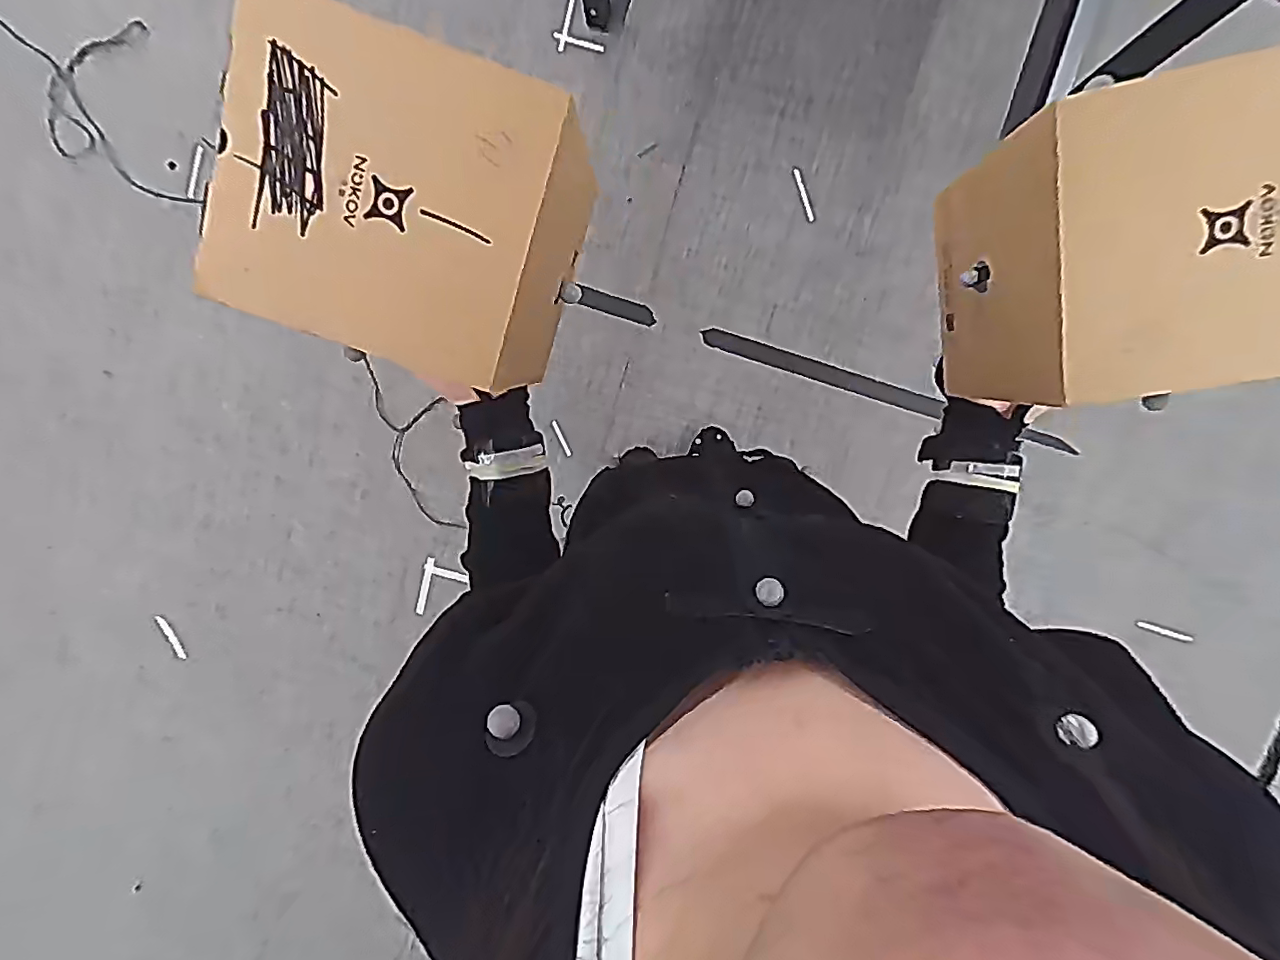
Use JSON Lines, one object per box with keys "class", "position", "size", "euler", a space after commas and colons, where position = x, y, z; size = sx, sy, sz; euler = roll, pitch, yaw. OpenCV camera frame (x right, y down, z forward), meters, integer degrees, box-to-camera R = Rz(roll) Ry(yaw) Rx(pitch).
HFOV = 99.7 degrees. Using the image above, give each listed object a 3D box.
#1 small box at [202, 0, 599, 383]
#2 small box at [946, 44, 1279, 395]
{"class": "small box", "position": [-0.137, -0.172, 0.369], "size": [0.179, 0.176, 0.168], "euler": [18, 102, -4]}
{"class": "small box", "position": [0.326, -0.152, 0.364], "size": [0.179, 0.176, 0.168], "euler": [-8, 101, 9]}
